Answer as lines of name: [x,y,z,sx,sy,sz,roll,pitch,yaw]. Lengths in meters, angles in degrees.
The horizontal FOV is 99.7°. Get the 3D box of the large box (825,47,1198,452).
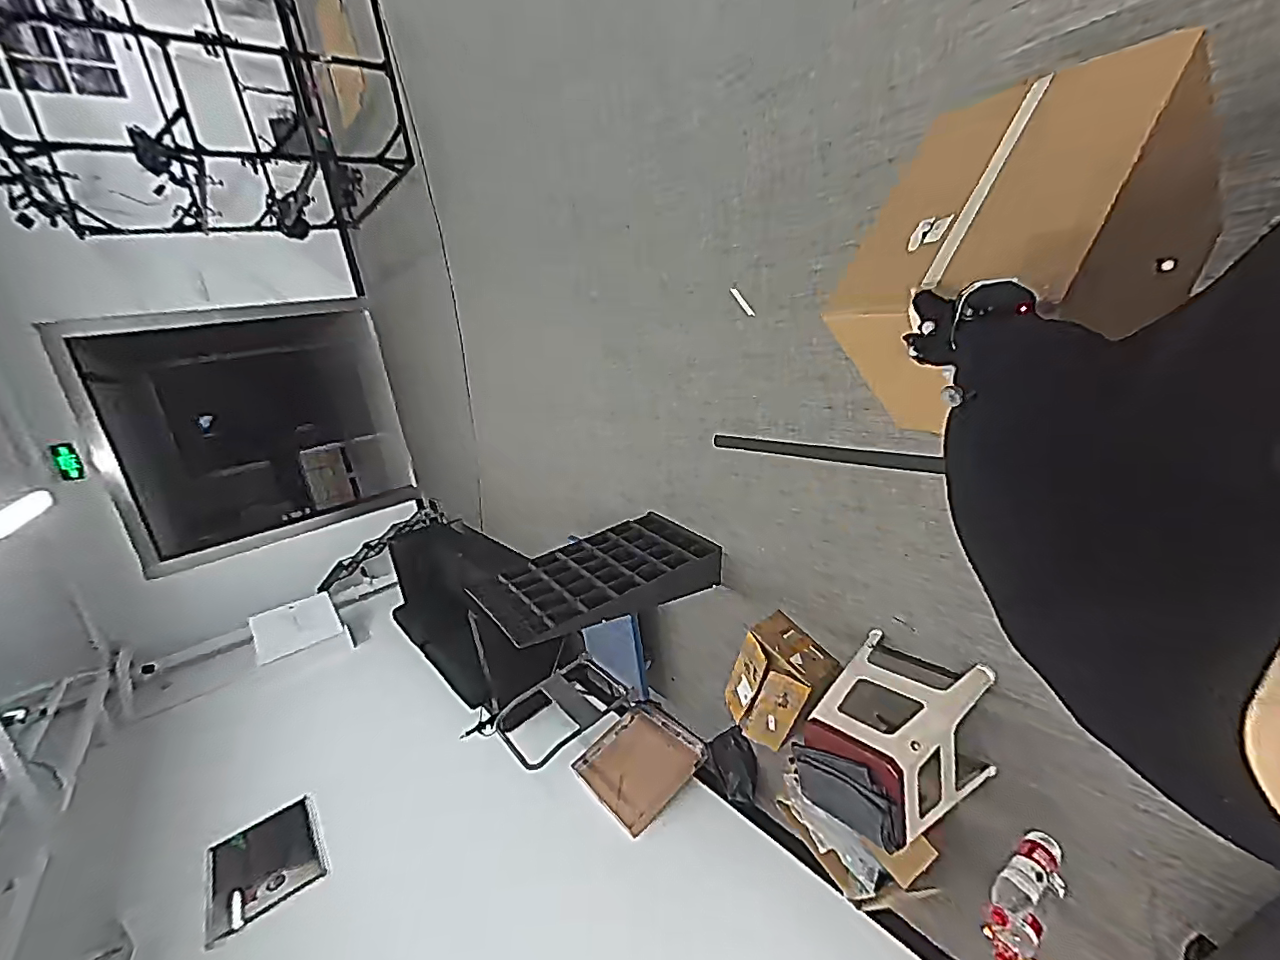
large box: [0.562,-0.306,0.818,0.320,0.408,0.320,36,171,-33]
